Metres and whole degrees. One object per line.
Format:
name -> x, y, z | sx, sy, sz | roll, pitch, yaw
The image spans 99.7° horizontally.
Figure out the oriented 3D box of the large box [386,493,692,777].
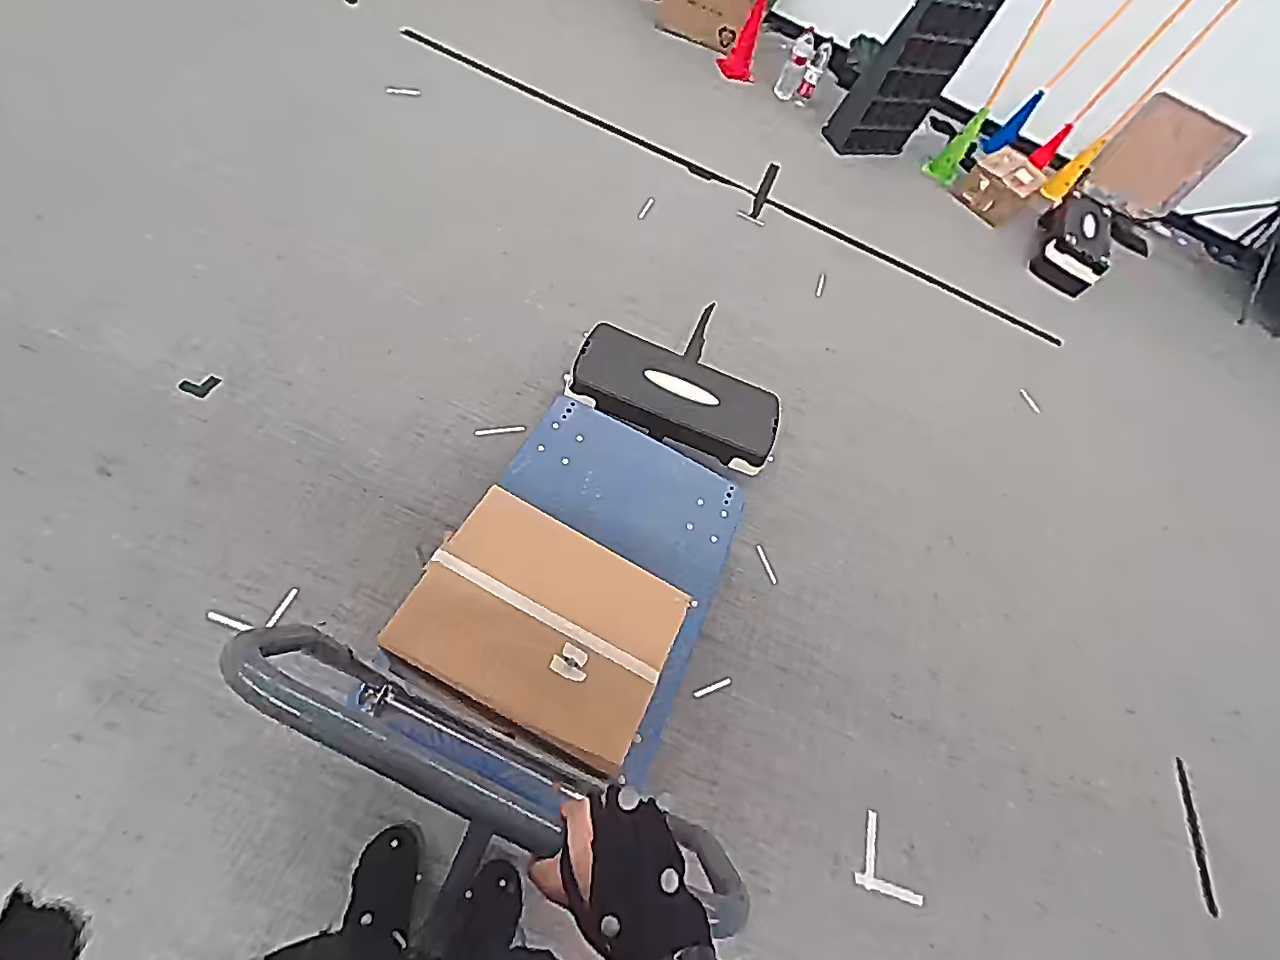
large box -> -0.182, 0.295, 0.992 | 0.408, 0.320, 0.320 | 30, 58, 0
